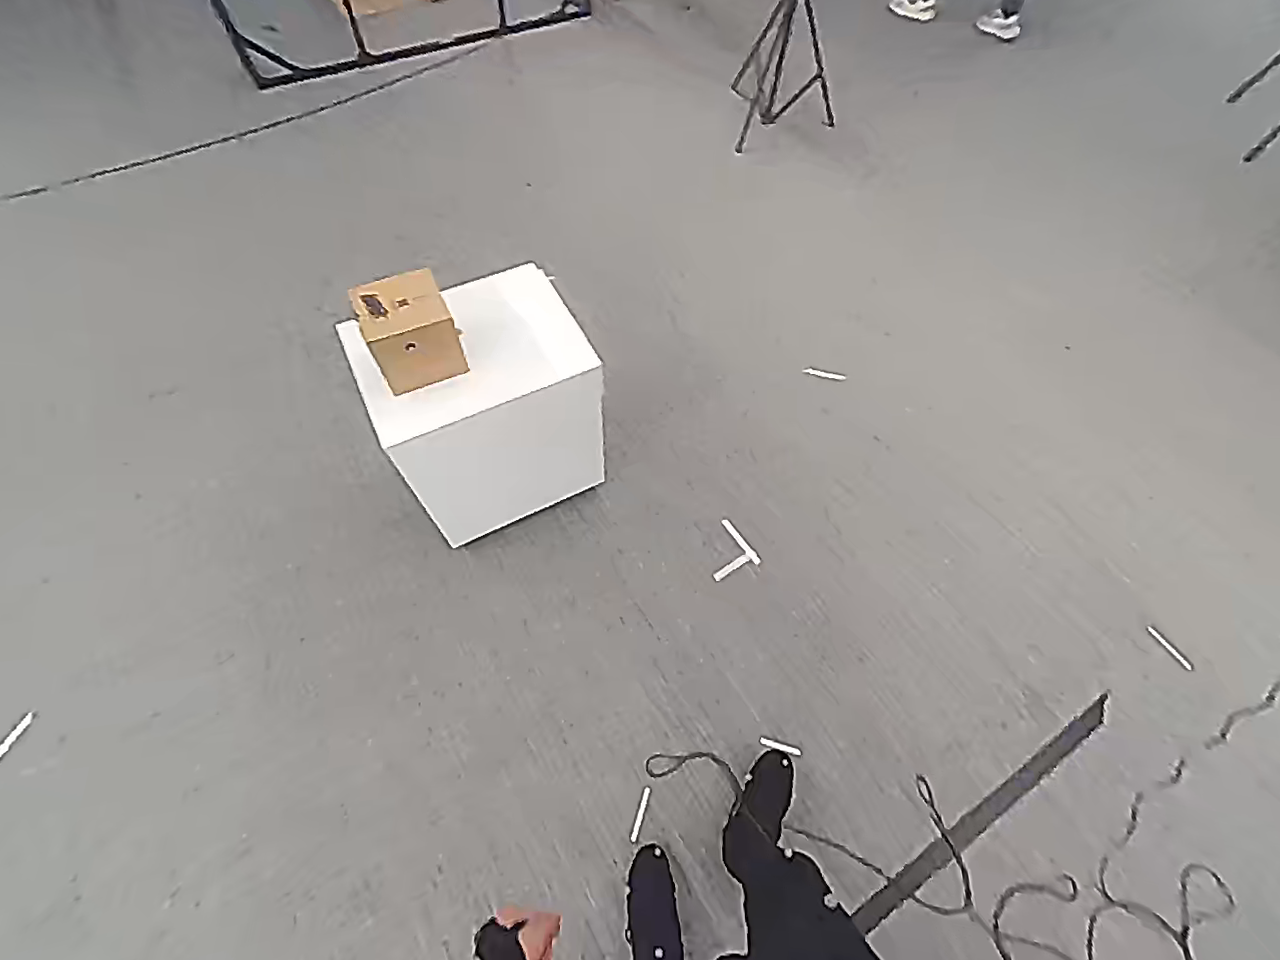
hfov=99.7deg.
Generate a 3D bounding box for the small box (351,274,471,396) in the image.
[{"bbox_3d":[-0.494,-0.311,1.184,0.179,0.176,0.168,-23,64,-16],"label":"small box"}]
